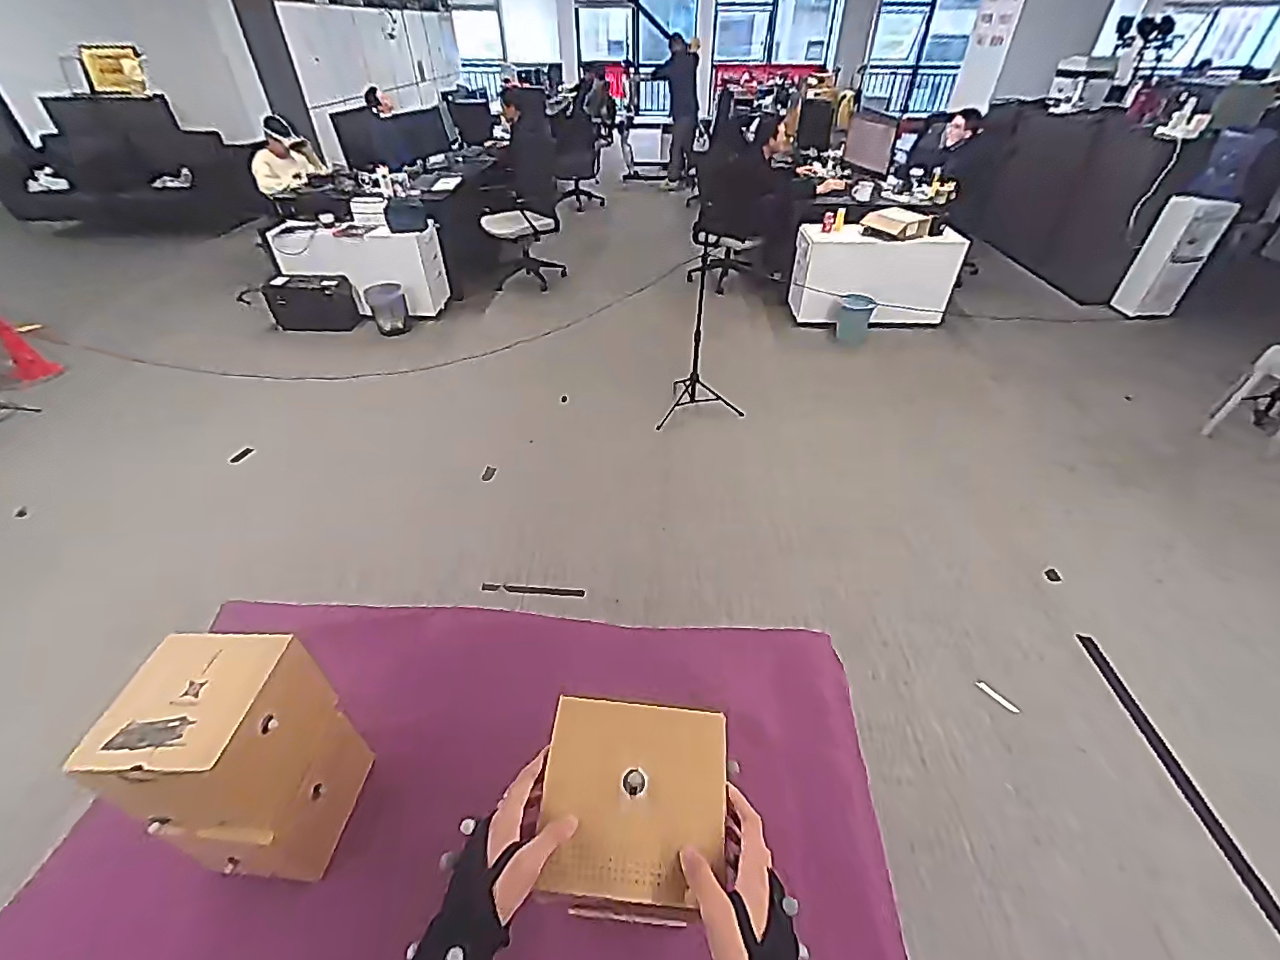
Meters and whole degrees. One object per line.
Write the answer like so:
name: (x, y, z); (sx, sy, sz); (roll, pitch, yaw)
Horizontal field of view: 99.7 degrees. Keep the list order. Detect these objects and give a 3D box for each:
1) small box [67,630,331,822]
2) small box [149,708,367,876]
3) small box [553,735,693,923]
small box: (-0.534, 0.315, 0.693); (0.168, 0.176, 0.179); (1, 39, 0)
small box: (-0.532, 0.448, 0.789); (0.168, 0.176, 0.179); (4, 40, 4)
small box: (-0.014, 0.486, 0.754); (0.168, 0.176, 0.179); (4, 39, 4)
